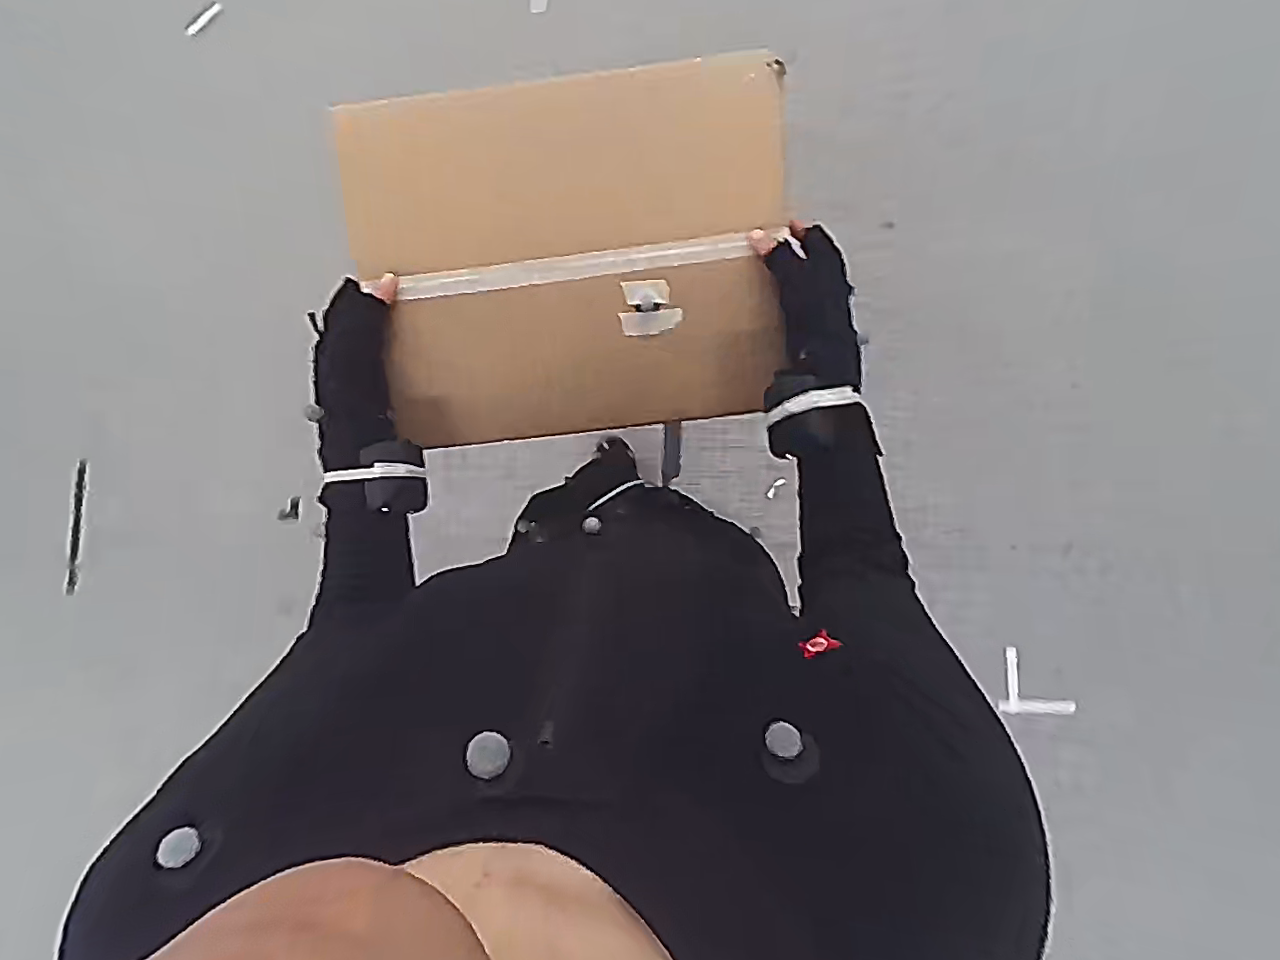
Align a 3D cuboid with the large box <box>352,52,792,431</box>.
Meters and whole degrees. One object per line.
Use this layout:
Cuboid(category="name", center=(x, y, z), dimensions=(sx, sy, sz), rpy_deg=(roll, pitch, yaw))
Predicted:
Cuboid(category="large box", center=(-0.056, -0.252, 0.670), dimensions=(0.408, 0.320, 0.320), rpy_deg=(-5, 104, 1))
